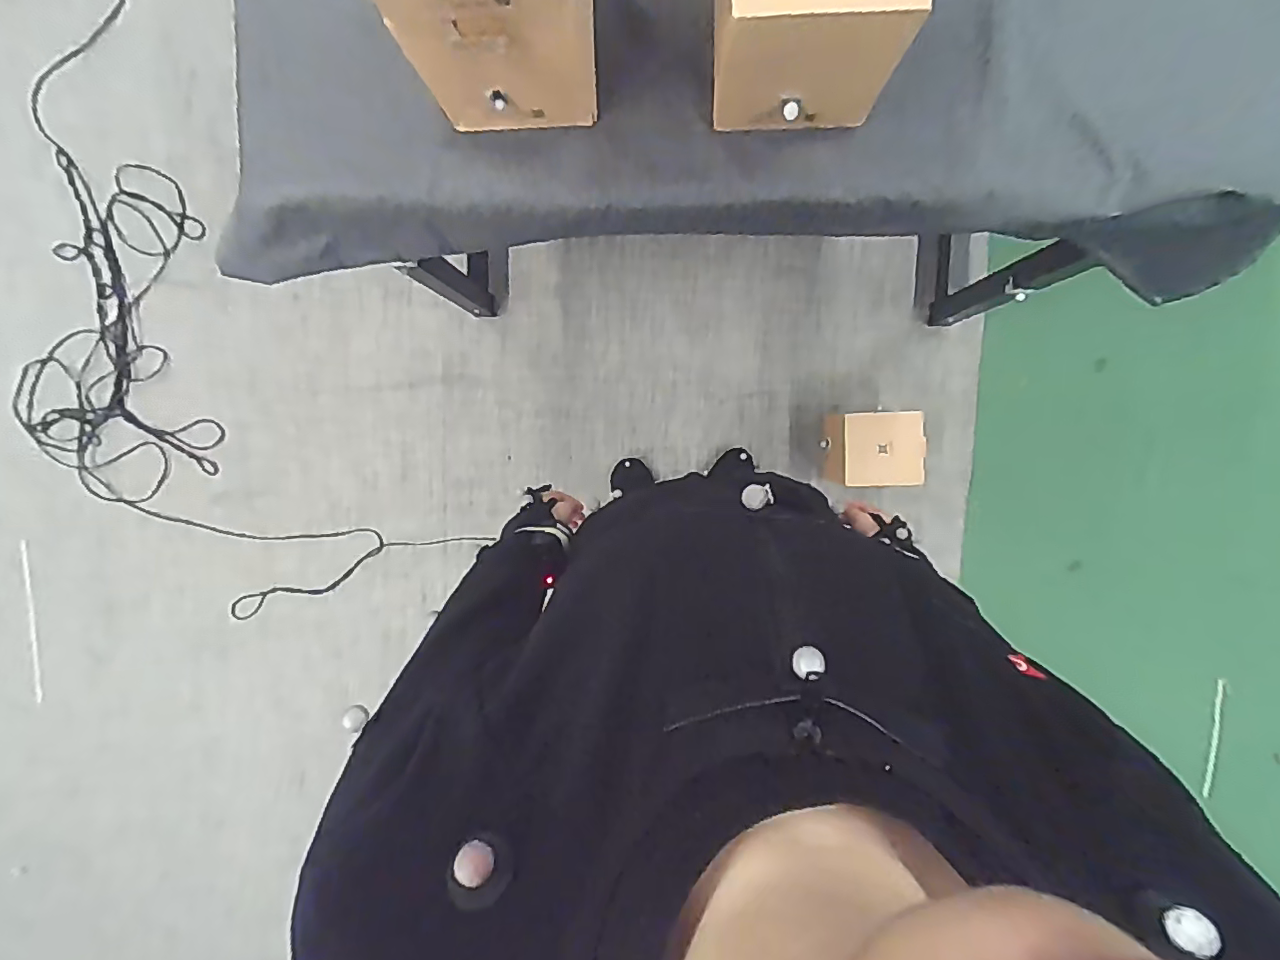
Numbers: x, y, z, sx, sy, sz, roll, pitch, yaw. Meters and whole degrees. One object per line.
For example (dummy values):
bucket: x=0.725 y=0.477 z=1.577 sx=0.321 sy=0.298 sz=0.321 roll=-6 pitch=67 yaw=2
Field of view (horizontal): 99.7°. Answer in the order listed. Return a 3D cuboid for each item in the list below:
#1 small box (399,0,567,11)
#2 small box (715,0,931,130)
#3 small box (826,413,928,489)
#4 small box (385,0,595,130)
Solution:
small box: x=-0.140 y=-0.474 z=0.376 sx=0.168 sy=0.176 sz=0.179 roll=-3 pitch=95 yaw=3
small box: x=0.162 y=-0.476 z=0.521 sx=0.168 sy=0.176 sz=0.179 roll=0 pitch=94 yaw=3
small box: x=0.547 y=-0.069 z=1.263 sx=0.179 sy=0.176 sz=0.168 roll=-2 pitch=93 yaw=4
small box: x=-0.137 y=-0.489 z=0.539 sx=0.168 sy=0.176 sz=0.179 roll=-1 pitch=94 yaw=3
